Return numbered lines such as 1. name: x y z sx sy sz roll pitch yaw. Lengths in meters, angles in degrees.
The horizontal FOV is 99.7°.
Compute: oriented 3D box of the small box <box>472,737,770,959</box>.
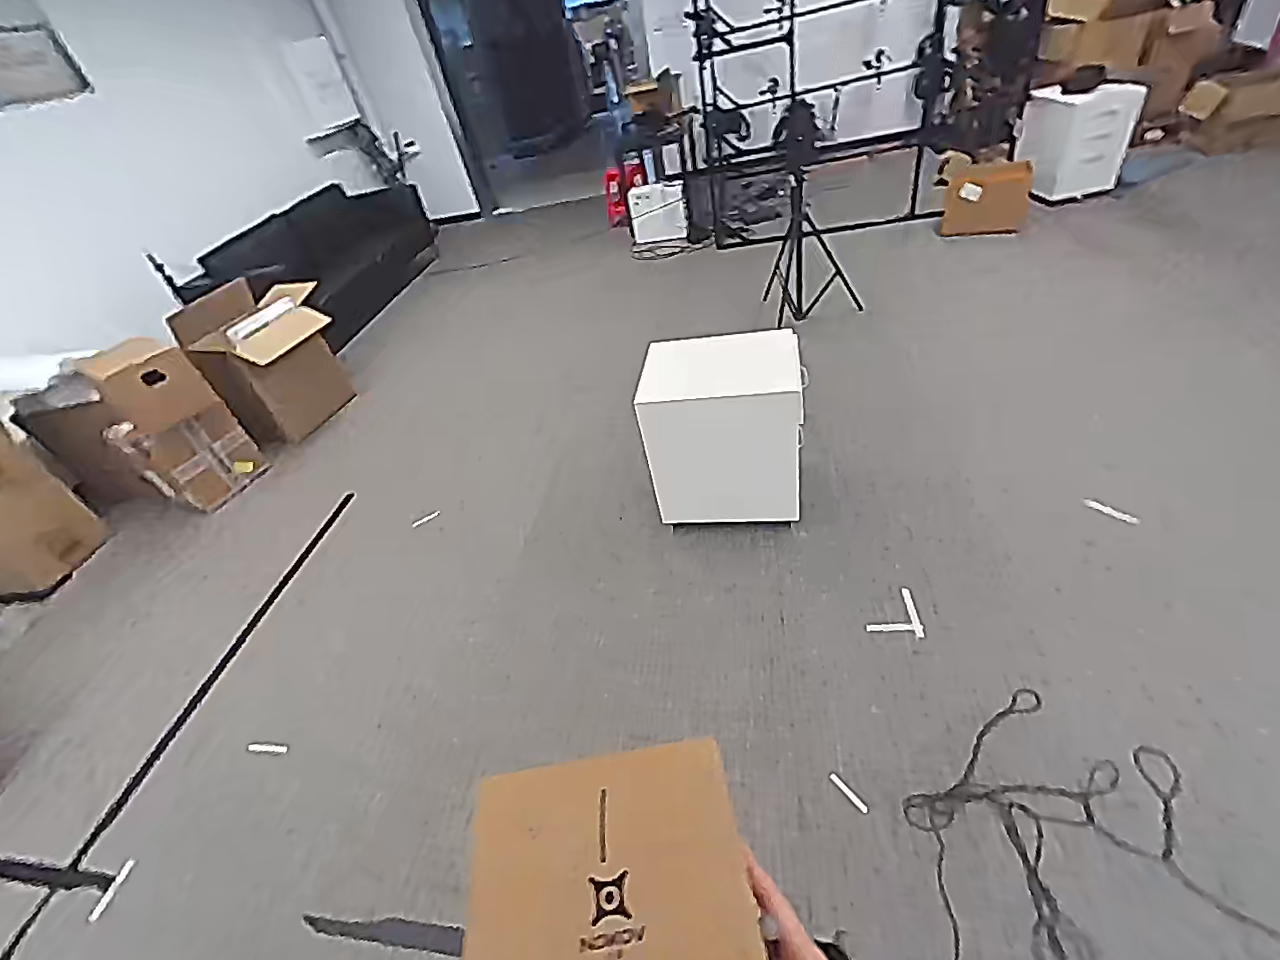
1. small box: -0.004 0.304 0.360 0.168 0.176 0.179 -9 41 -1
